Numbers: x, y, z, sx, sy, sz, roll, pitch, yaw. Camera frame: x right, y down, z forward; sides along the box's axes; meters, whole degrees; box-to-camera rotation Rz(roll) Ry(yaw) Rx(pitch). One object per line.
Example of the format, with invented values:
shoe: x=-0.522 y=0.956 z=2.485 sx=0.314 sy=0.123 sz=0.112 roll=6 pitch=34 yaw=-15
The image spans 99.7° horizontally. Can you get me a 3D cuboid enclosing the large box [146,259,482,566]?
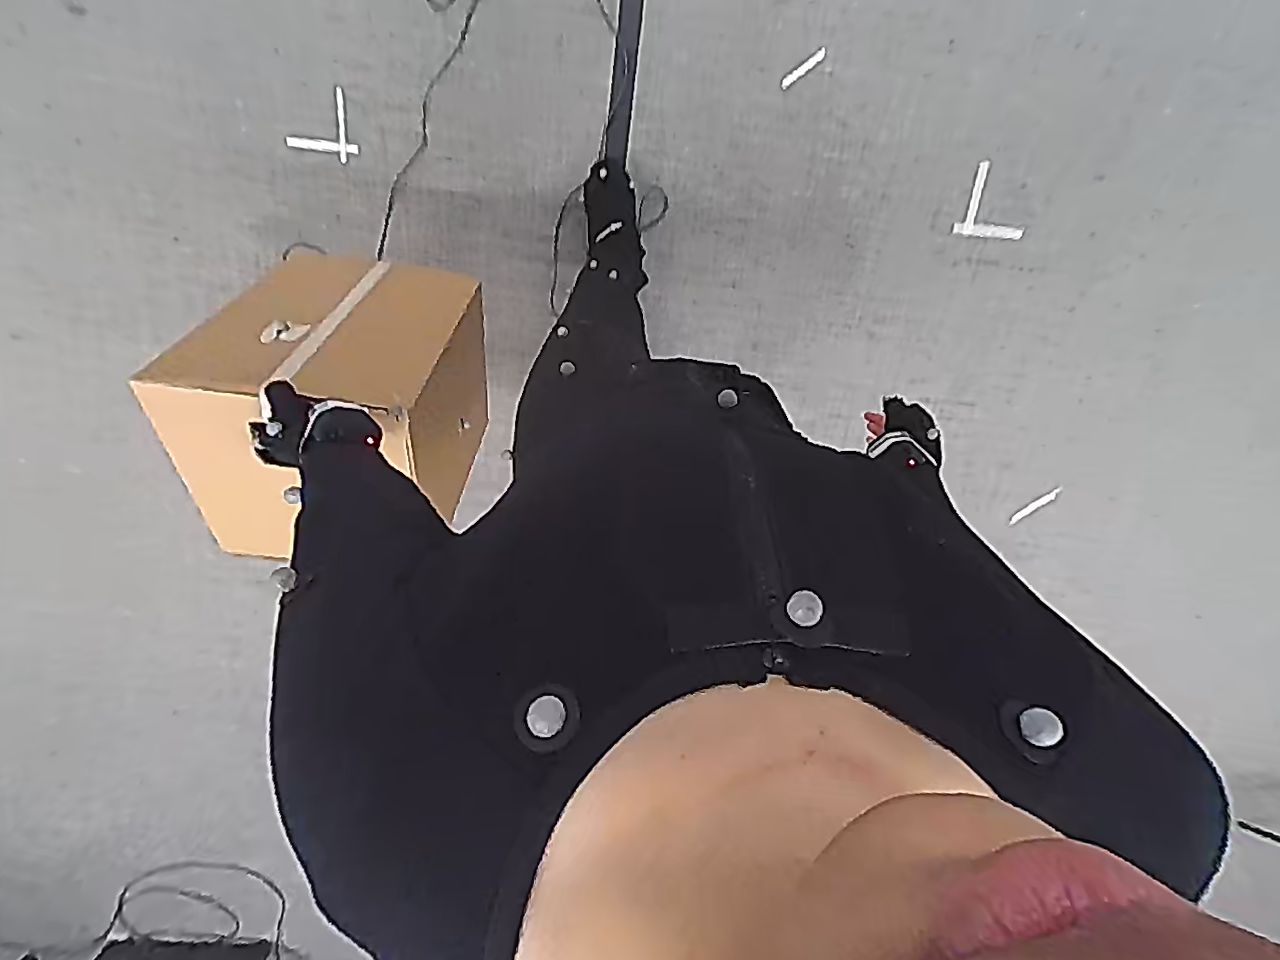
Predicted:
large box: x=-0.460 y=-0.120 z=0.897 sx=0.320 sy=0.408 sz=0.320 roll=6 pitch=132 yaw=-5
